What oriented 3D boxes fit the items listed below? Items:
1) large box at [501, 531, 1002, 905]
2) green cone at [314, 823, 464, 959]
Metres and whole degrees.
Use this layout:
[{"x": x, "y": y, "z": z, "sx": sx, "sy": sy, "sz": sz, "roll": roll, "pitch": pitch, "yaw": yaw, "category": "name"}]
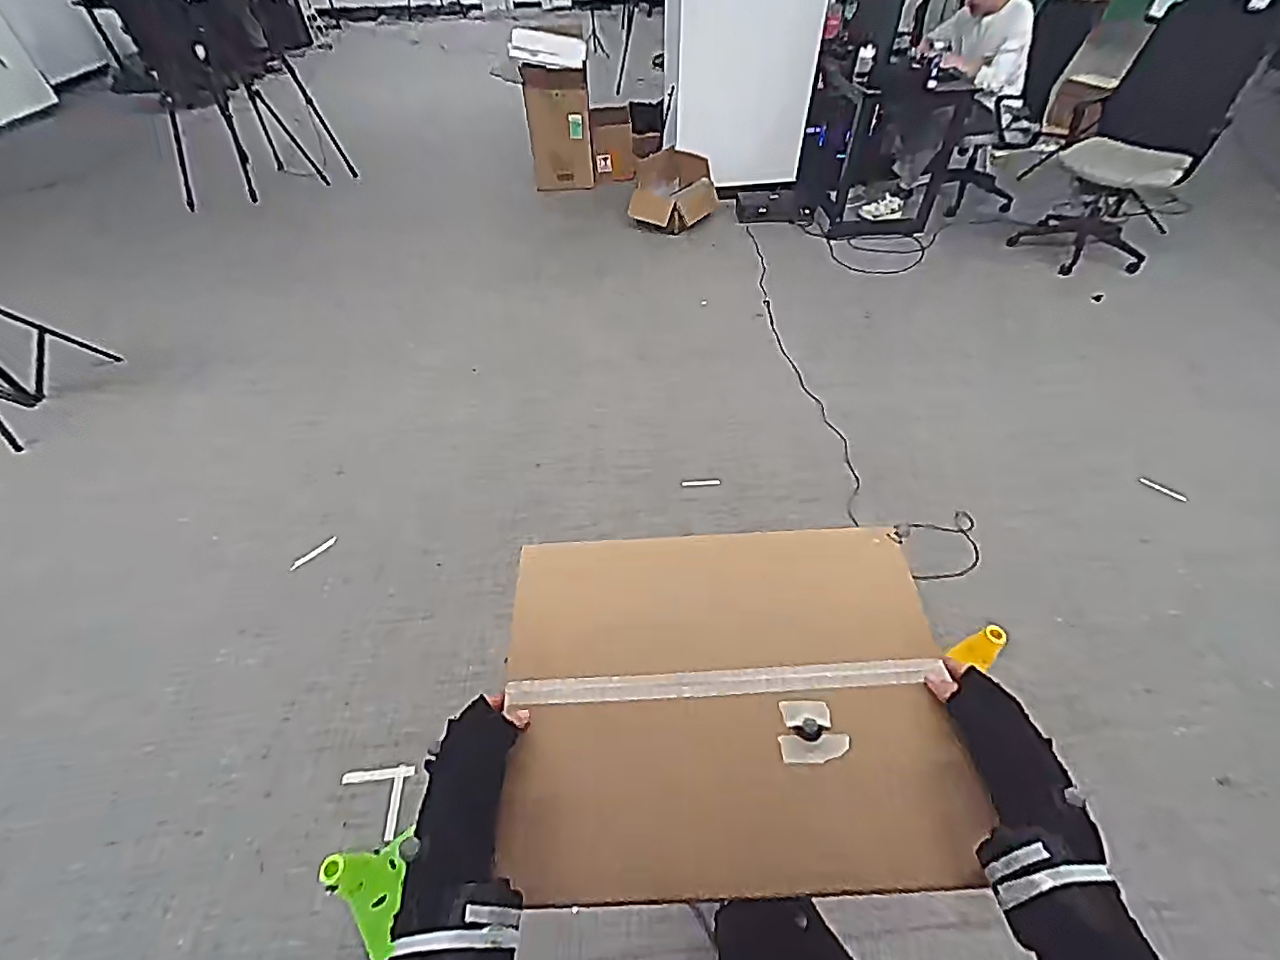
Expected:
[{"x": 0.084, "y": 0.280, "z": 0.626, "sx": 0.408, "sy": 0.320, "sz": 0.320, "roll": -3, "pitch": 54, "yaw": 0, "category": "large box"}, {"x": -0.517, "y": 0.783, "z": 1.046, "sx": 0.202, "sy": 0.368, "sz": 0.200, "roll": -35, "pitch": 55, "yaw": -24, "category": "green cone"}]
